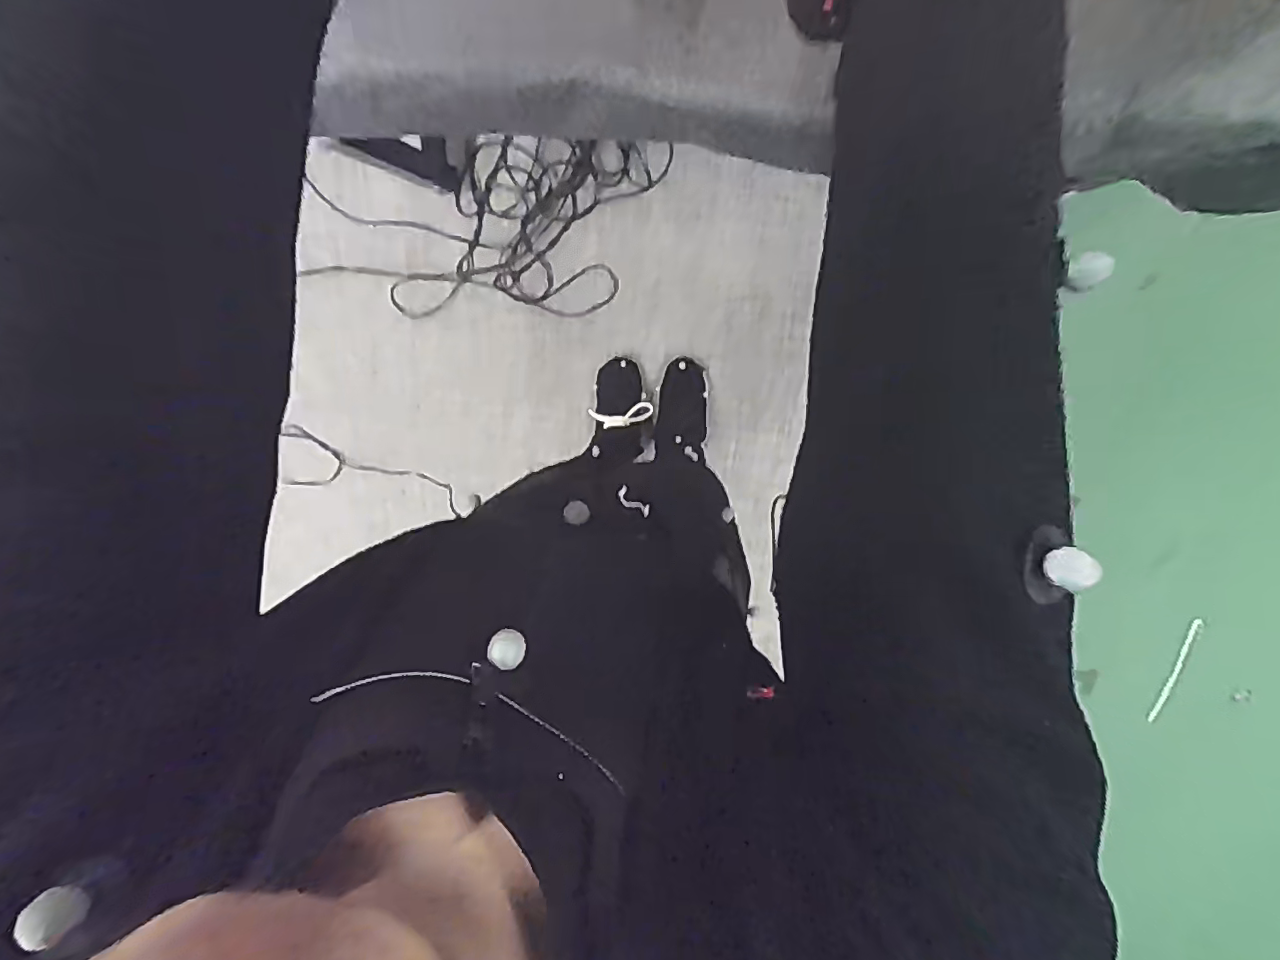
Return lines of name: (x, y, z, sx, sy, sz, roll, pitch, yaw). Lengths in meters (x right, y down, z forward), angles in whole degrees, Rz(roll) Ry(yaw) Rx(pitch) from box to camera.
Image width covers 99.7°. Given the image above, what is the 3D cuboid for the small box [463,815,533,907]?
small box: (-0.446, 1.208, 1.724, 0.179, 0.176, 0.168, 5, 109, 6)
